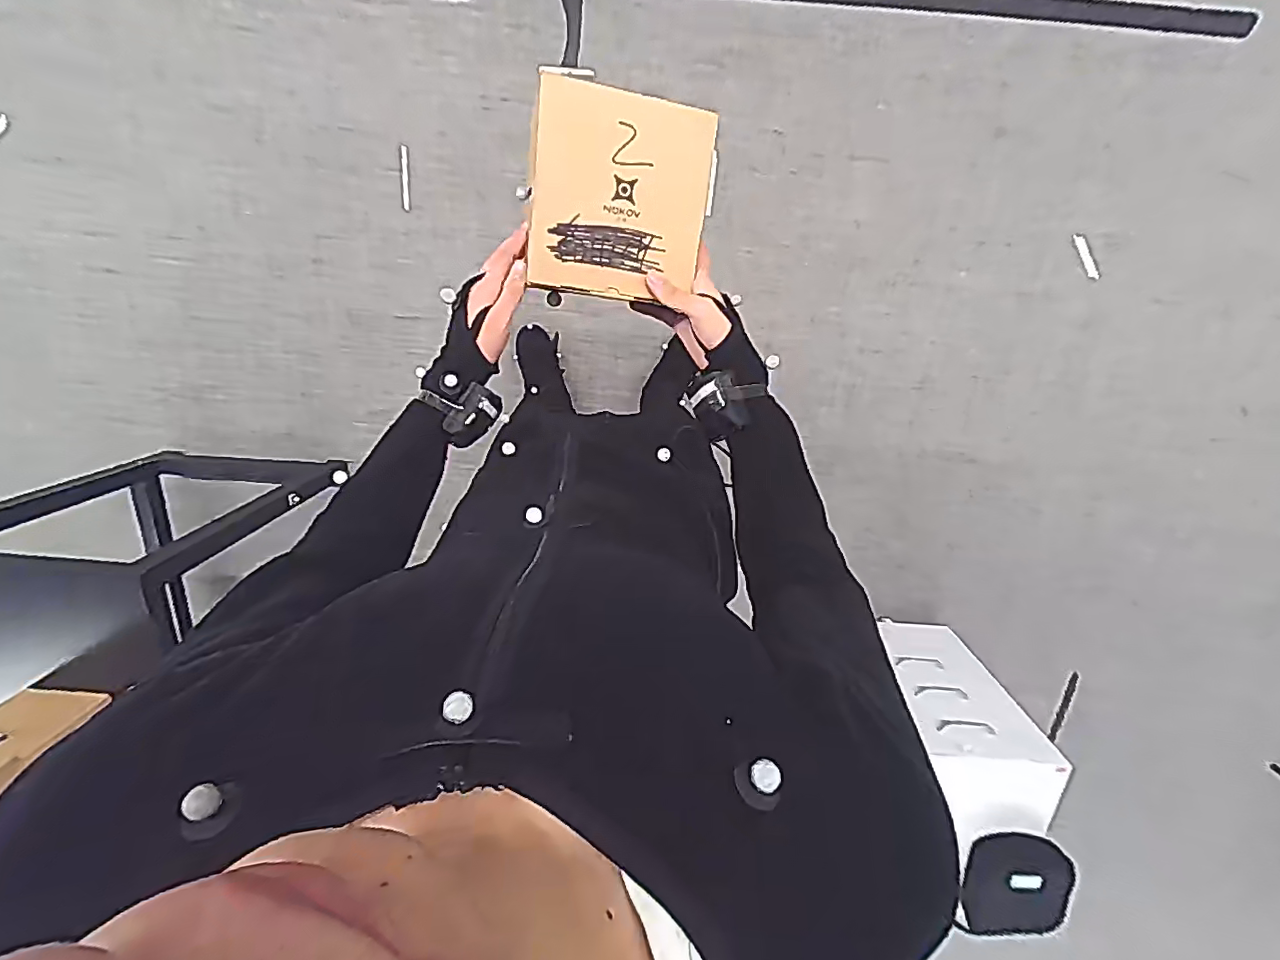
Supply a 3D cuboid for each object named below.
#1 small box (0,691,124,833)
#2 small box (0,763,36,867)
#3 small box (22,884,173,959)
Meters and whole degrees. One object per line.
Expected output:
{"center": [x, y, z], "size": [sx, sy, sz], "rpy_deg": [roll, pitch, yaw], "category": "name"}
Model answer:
{"center": [-1.142, 0.520, 1.014], "size": [0.179, 0.176, 0.168], "rpy_deg": [4, 109, 0], "category": "small box"}
{"center": [-1.140, 0.572, 0.858], "size": [0.168, 0.176, 0.179], "rpy_deg": [1, 108, 1], "category": "small box"}
{"center": [-1.176, 1.027, 1.184], "size": [0.179, 0.176, 0.168], "rpy_deg": [3, 108, 0], "category": "small box"}
